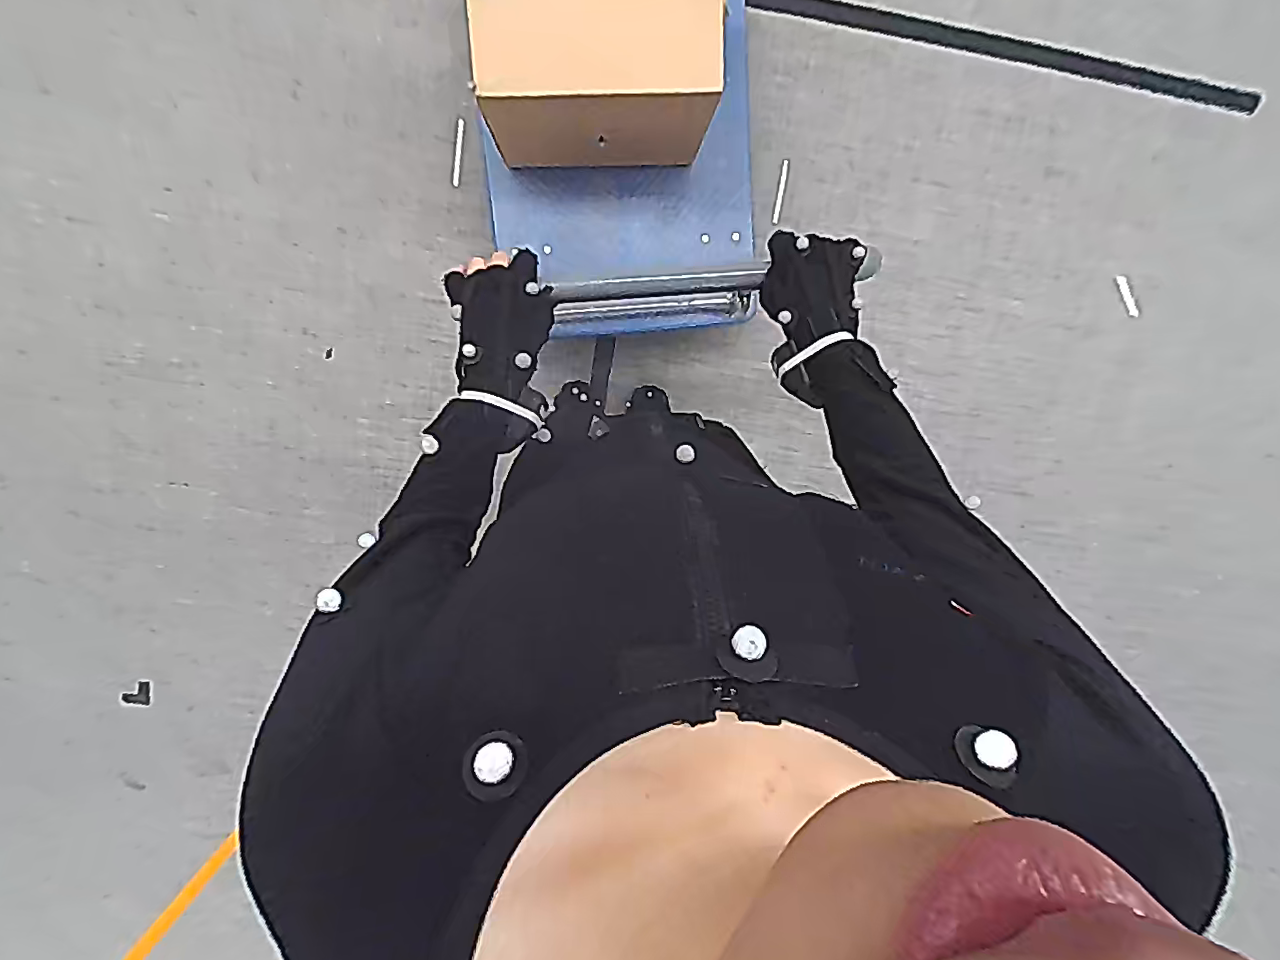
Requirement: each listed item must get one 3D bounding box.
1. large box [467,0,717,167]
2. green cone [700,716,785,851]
[{"bbox_3d":[-0.084,-0.808,1.005,0.408,0.320,0.320,-4,101,-2],"label":"large box"},{"bbox_3d":[0.310,0.850,1.478,0.202,0.368,0.200,11,99,-7],"label":"green cone"}]
